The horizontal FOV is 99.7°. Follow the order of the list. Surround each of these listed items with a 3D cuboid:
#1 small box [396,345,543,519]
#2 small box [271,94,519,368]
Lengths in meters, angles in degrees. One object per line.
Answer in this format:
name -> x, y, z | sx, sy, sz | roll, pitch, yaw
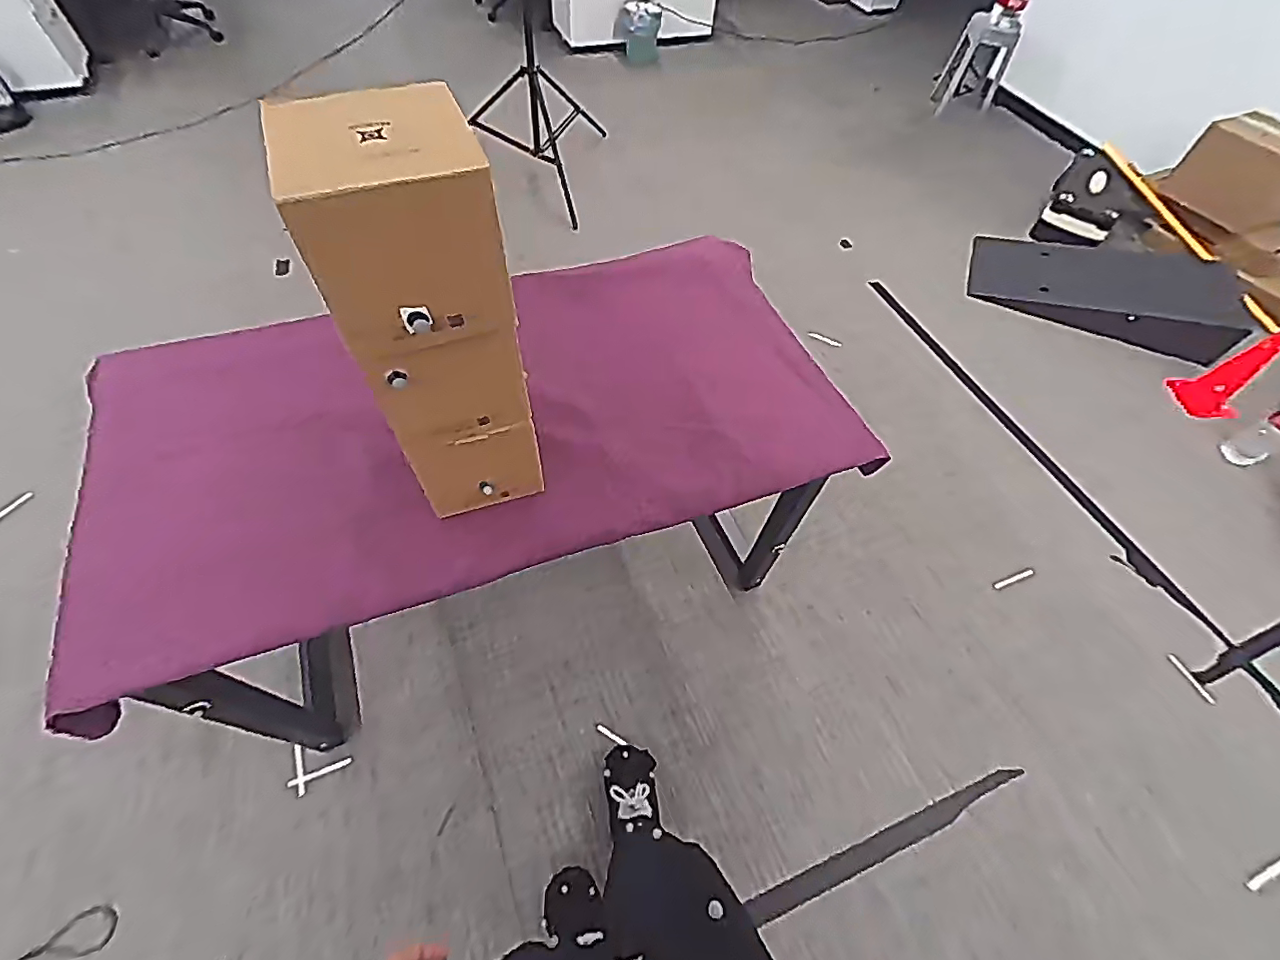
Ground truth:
small box -> -0.250, -0.070, 0.810 | 0.168, 0.176, 0.179 | -15, 59, -13
small box -> -0.230, -0.242, 0.533 | 0.168, 0.176, 0.179 | -19, 60, -15
